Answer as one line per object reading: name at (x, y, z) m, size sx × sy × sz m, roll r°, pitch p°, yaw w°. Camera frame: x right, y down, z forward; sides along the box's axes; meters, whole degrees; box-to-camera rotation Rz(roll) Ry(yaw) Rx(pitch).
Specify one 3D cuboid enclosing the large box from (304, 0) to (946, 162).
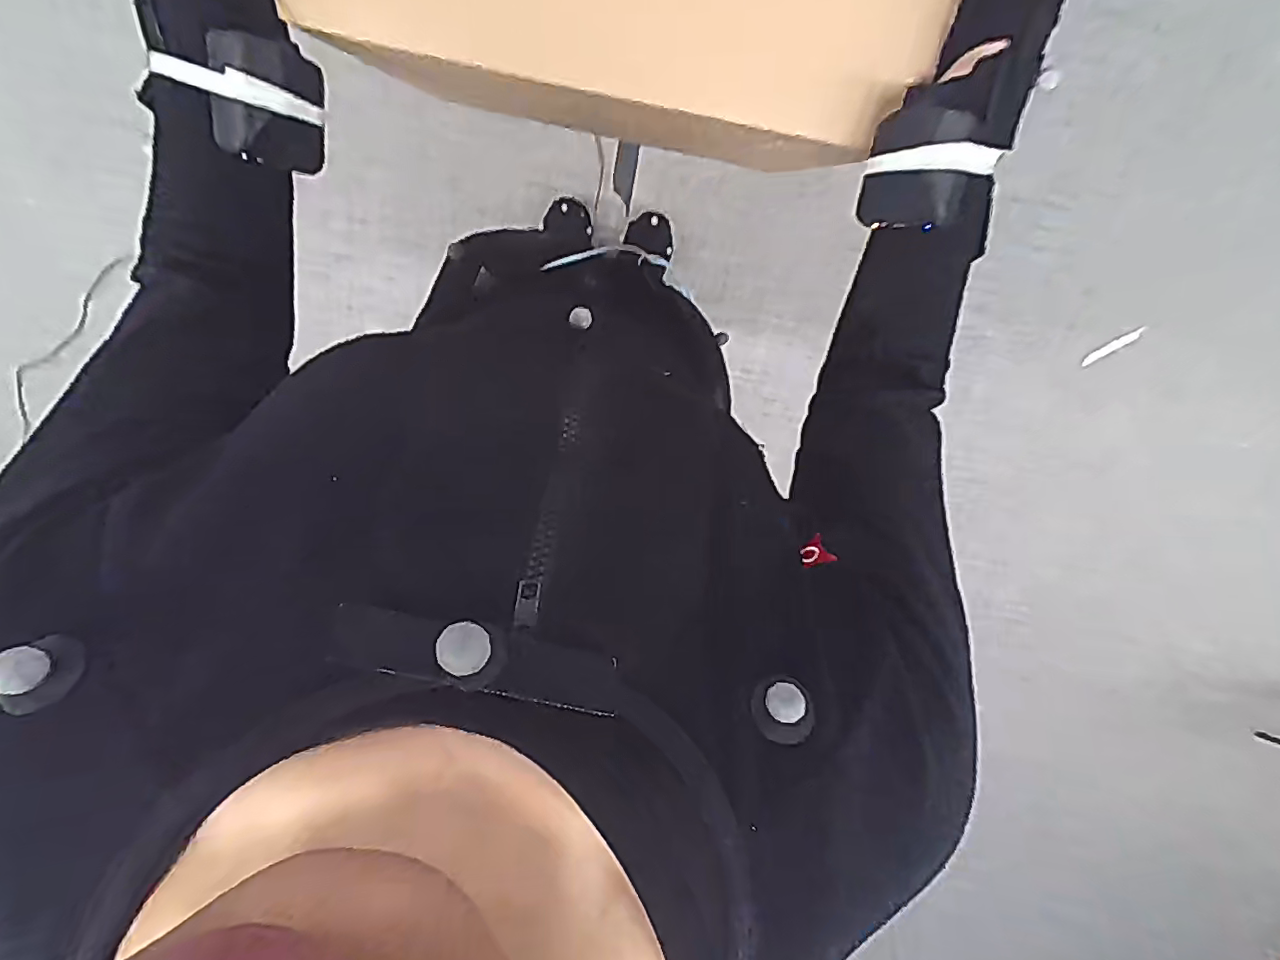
large box at (0.003, -0.461, 0.418) m, size 0.408 × 0.320 × 0.320 m, roll 7°, pitch 118°, yaw -7°
